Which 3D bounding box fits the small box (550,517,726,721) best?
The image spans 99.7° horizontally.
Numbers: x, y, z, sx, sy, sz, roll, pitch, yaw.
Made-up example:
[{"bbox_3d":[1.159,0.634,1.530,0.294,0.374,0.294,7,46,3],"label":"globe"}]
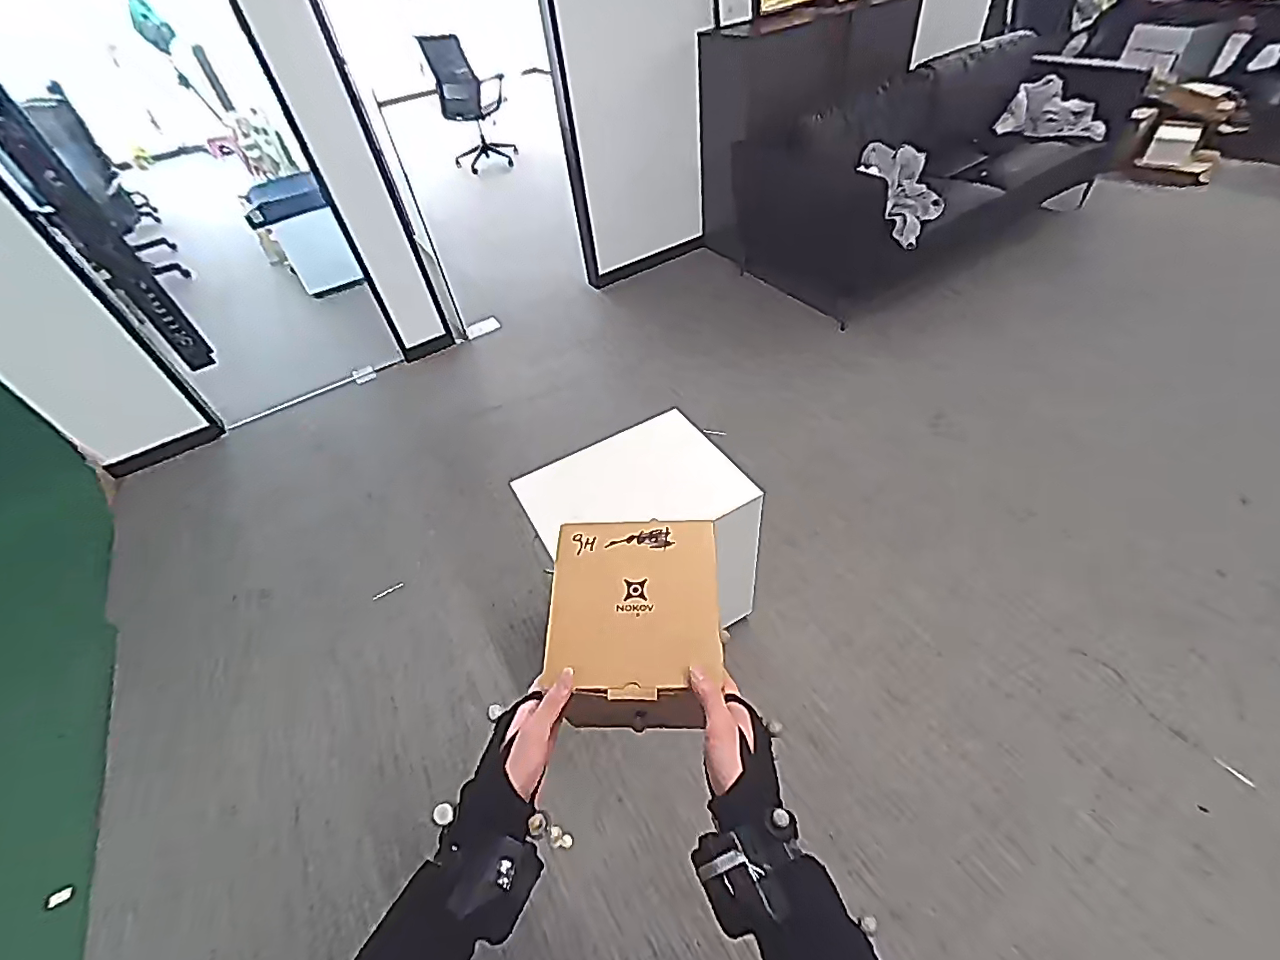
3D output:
[{"bbox_3d":[0.004,0.161,0.598,0.168,0.176,0.179,-4,55,3],"label":"small box"}]
